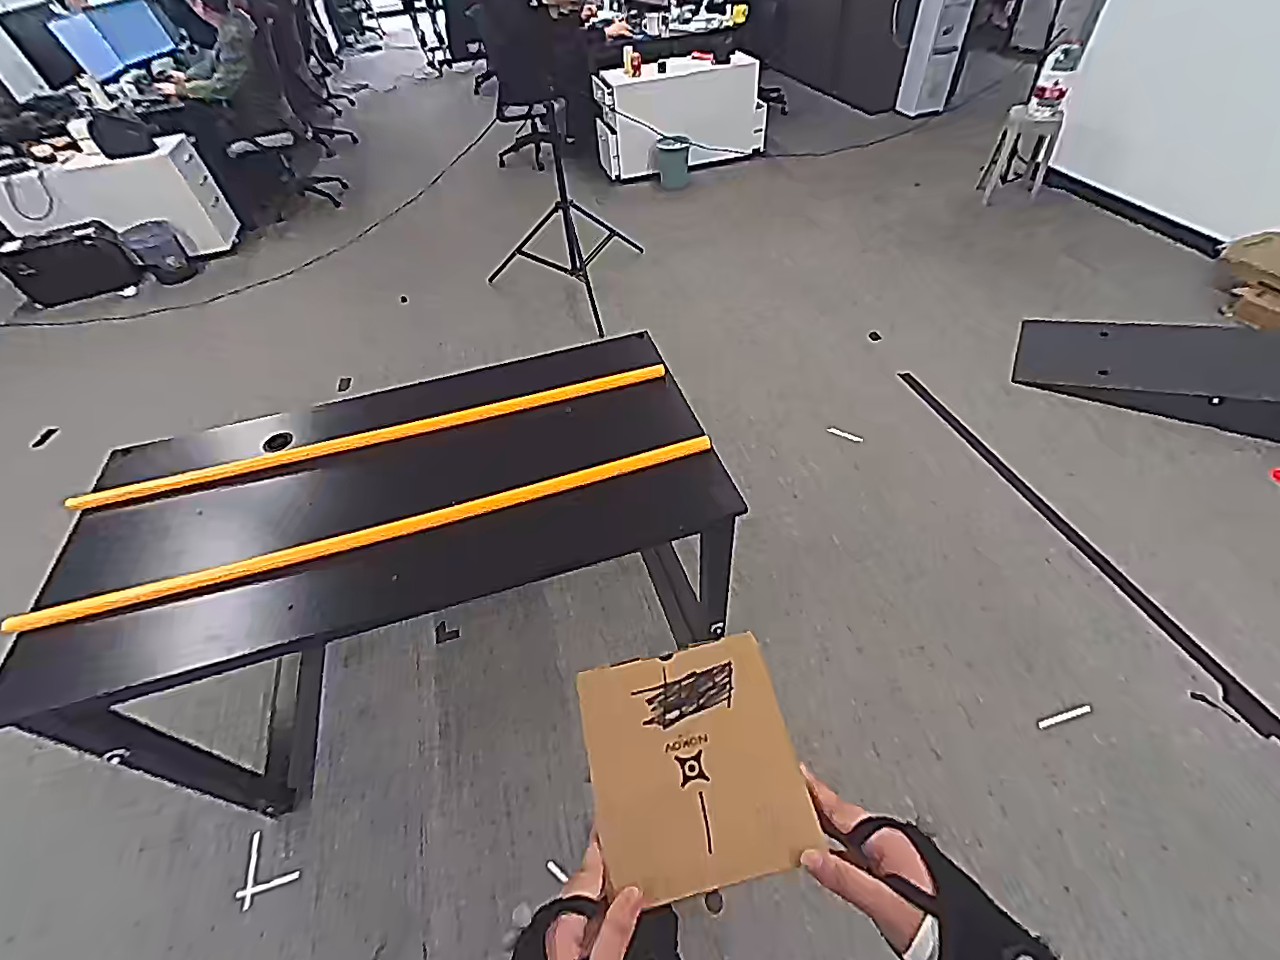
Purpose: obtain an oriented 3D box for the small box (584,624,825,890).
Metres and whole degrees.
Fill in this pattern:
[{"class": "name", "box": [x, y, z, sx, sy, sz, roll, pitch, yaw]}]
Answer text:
[{"class": "small box", "box": [0.048, 0.265, 0.512, 0.168, 0.176, 0.179, -12, 54, -3]}]
